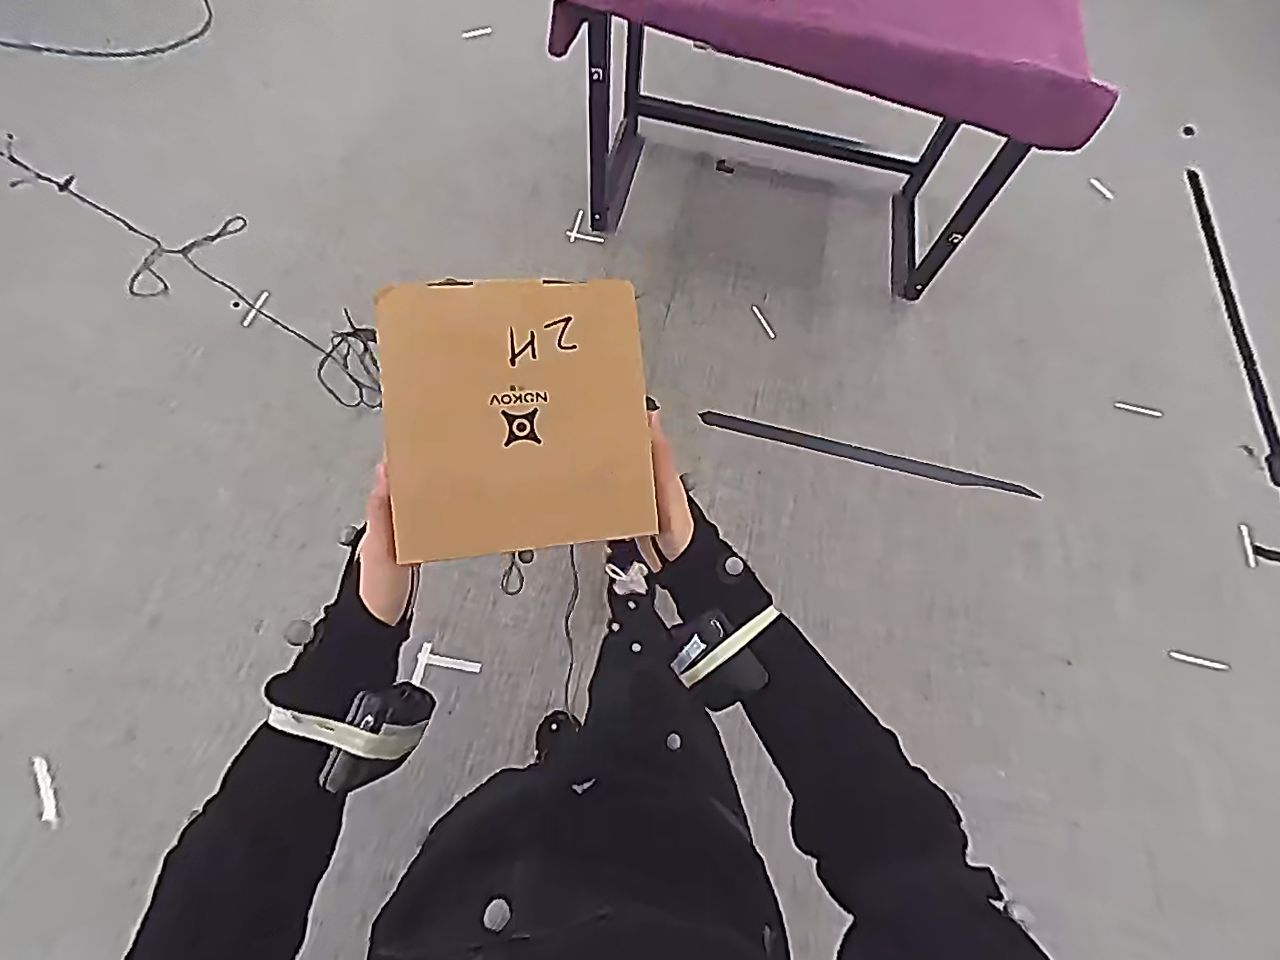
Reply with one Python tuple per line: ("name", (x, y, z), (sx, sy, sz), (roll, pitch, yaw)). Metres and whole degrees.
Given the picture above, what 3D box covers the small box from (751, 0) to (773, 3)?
("small box", (0.263, -1.254, 1.251), (0.168, 0.176, 0.179), (14, 65, 2))
